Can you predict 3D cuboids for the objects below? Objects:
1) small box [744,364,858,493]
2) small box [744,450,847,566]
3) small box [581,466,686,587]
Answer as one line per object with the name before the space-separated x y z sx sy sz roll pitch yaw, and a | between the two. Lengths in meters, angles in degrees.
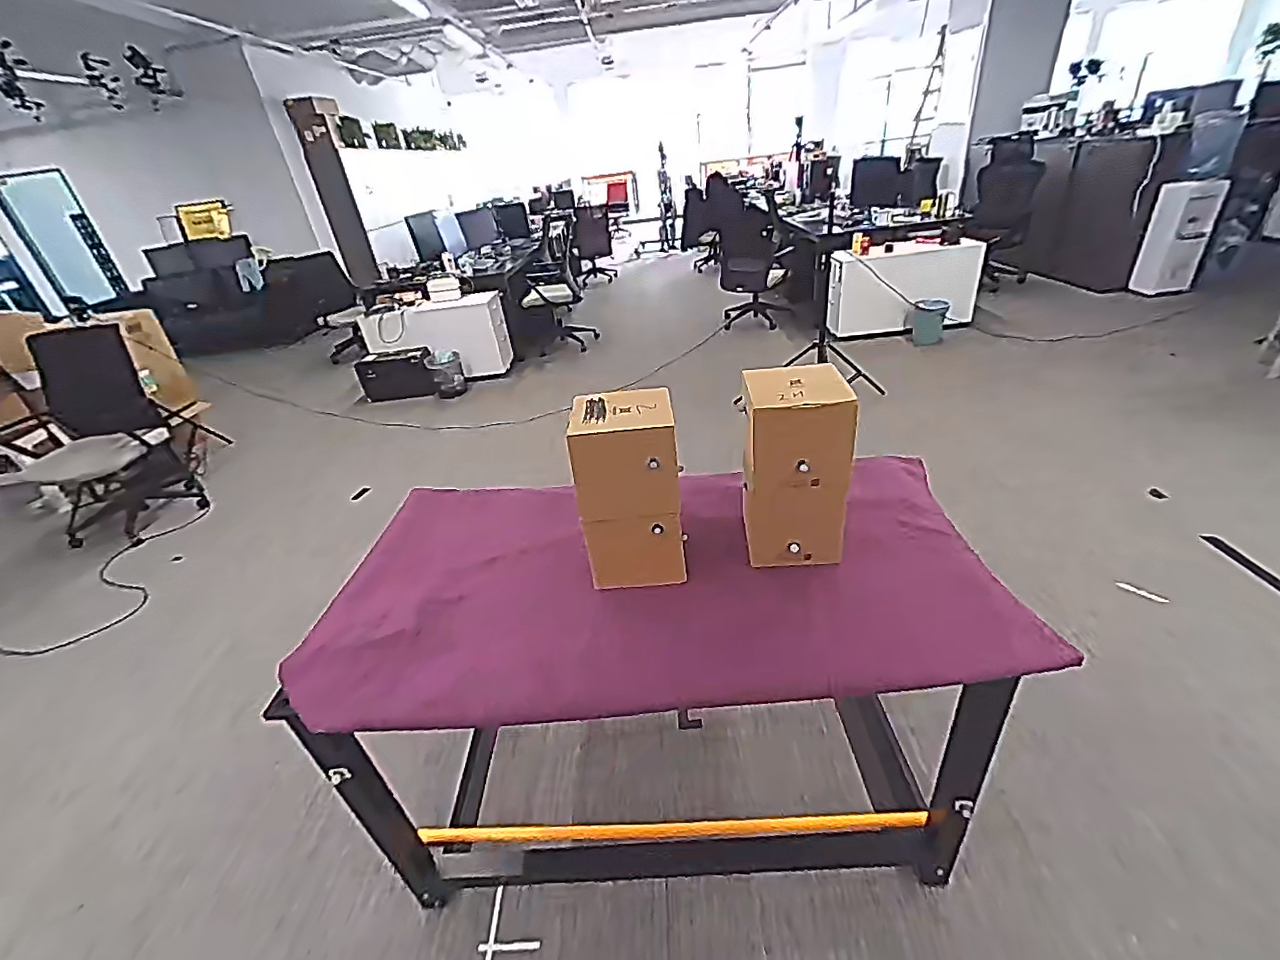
small box | 0.276 -0.093 0.966 0.168 0.176 0.179 -5 31 7
small box | 0.292 0.047 1.051 0.168 0.176 0.179 -4 32 7
small box | -0.008 0.091 1.048 0.179 0.176 0.168 -5 31 3
